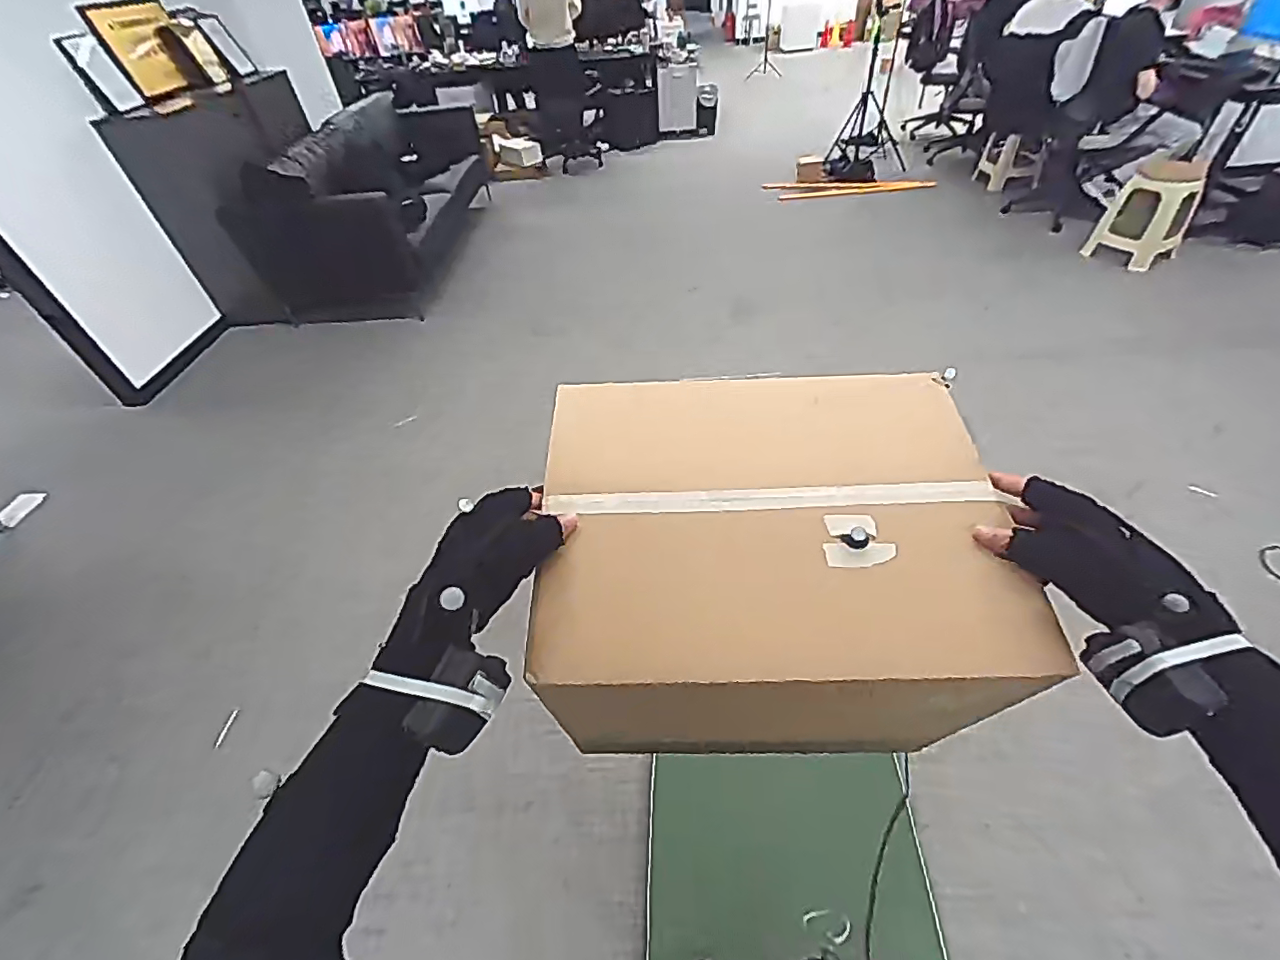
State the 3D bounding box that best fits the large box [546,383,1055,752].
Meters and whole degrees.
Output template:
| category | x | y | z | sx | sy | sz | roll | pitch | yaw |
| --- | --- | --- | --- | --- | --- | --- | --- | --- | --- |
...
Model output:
| category | x | y | z | sx | sy | sz | roll | pitch | yaw |
| --- | --- | --- | --- | --- | --- | --- | --- | --- | --- |
| large box | 0.123 | 0.111 | 0.622 | 0.408 | 0.320 | 0.320 | -2 | 55 | 1 |
